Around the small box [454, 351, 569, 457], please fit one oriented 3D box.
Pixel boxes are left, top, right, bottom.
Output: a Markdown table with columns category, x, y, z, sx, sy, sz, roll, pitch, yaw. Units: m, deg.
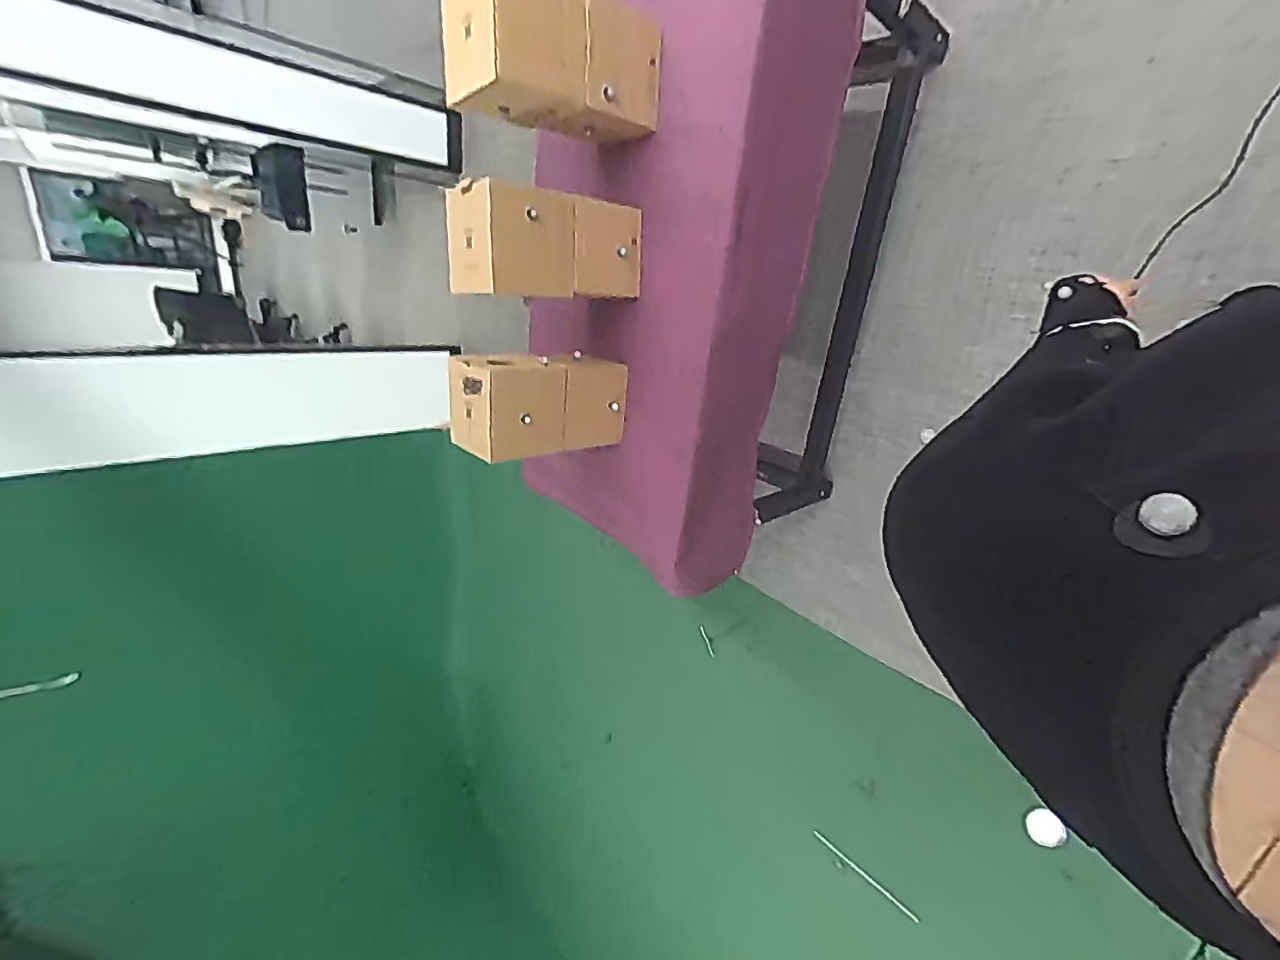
| category | x | y | z | sx | sy | sz | roll | pitch | yaw |
| --- | --- | --- | --- | --- | --- | --- | --- | --- | --- |
| small box | -0.258 | -0.163 | 1.092 | 0.168 | 0.176 | 0.179 | 24 | 118 | 41 |

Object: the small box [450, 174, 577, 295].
| category | x | y | z | sx | sy | sz | roll | pitch | yaw |
| --- | --- | --- | --- | --- | --- | --- | --- | --- | --- |
| small box | -0.228 | -0.438 | 0.989 | 0.168 | 0.176 | 0.179 | 20 | 115 | 44 |

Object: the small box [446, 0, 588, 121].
| category | x | y | z | sx | sy | sz | roll | pitch | yaw |
| --- | --- | --- | --- | --- | --- | --- | --- | --- | --- |
| small box | -0.198 | -0.712 | 0.883 | 0.168 | 0.176 | 0.179 | 19 | 113 | 43 |

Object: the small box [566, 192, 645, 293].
| category | x | y | z | sx | sy | sz | roll | pitch | yaw |
| --- | --- | --- | --- | --- | --- | --- | --- | --- | --- |
| small box | -0.112 | -0.471 | 1.099 | 0.179 | 0.176 | 0.168 | 17 | 113 | 43 |

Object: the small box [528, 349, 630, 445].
| category | x | y | z | sx | sy | sz | roll | pitch | yaw |
| --- | --- | --- | --- | --- | --- | --- | --- | --- | --- |
| small box | -0.139 | -0.191 | 1.202 | 0.168 | 0.176 | 0.179 | 24 | 117 | 42 |
